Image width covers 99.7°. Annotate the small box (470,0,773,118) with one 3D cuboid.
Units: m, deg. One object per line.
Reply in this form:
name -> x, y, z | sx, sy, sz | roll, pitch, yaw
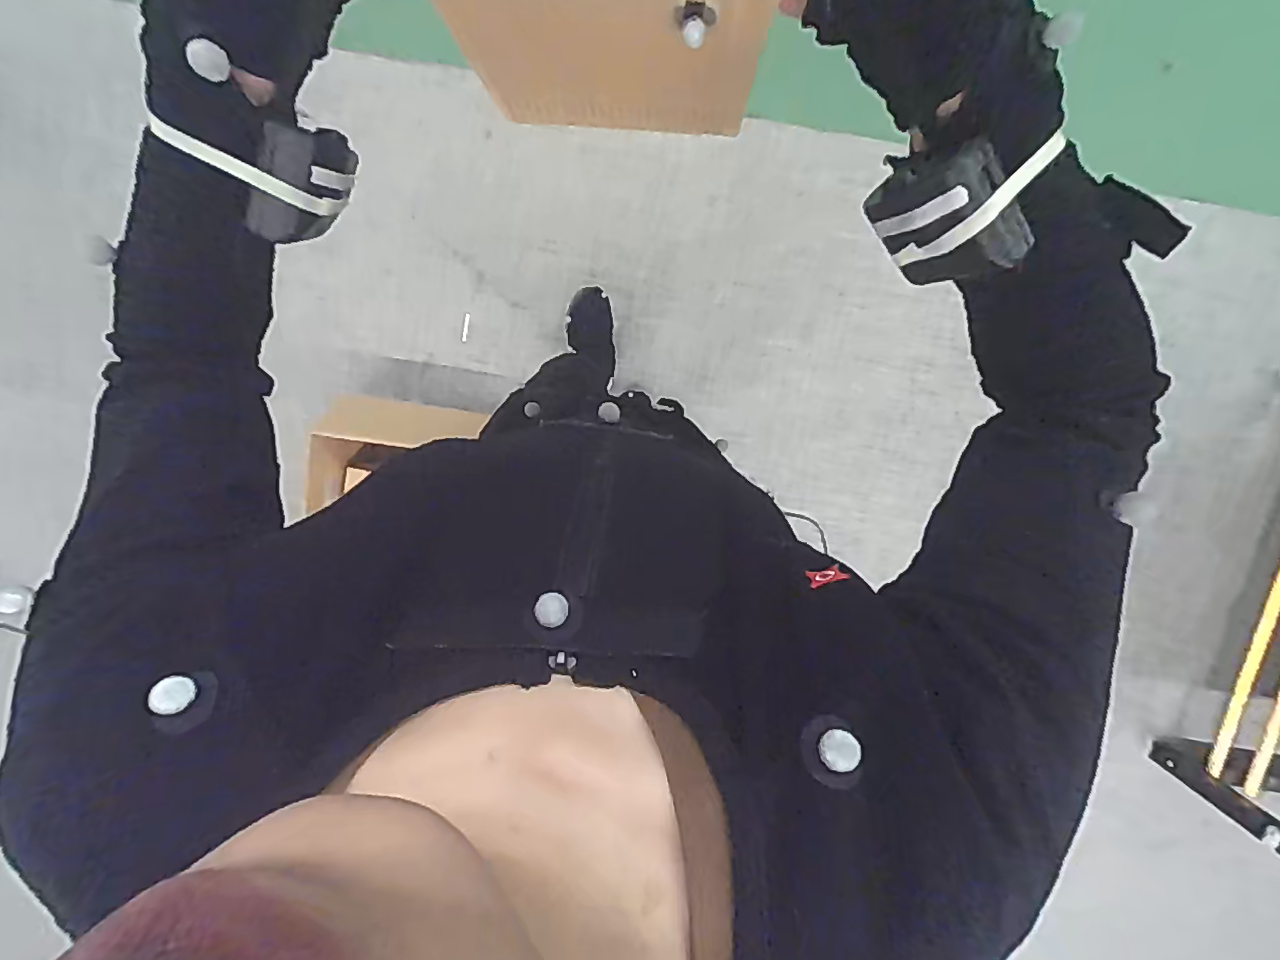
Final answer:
small box -> -0.008, -0.332, 0.304 | 0.179, 0.176, 0.168 | 3, 102, 0
